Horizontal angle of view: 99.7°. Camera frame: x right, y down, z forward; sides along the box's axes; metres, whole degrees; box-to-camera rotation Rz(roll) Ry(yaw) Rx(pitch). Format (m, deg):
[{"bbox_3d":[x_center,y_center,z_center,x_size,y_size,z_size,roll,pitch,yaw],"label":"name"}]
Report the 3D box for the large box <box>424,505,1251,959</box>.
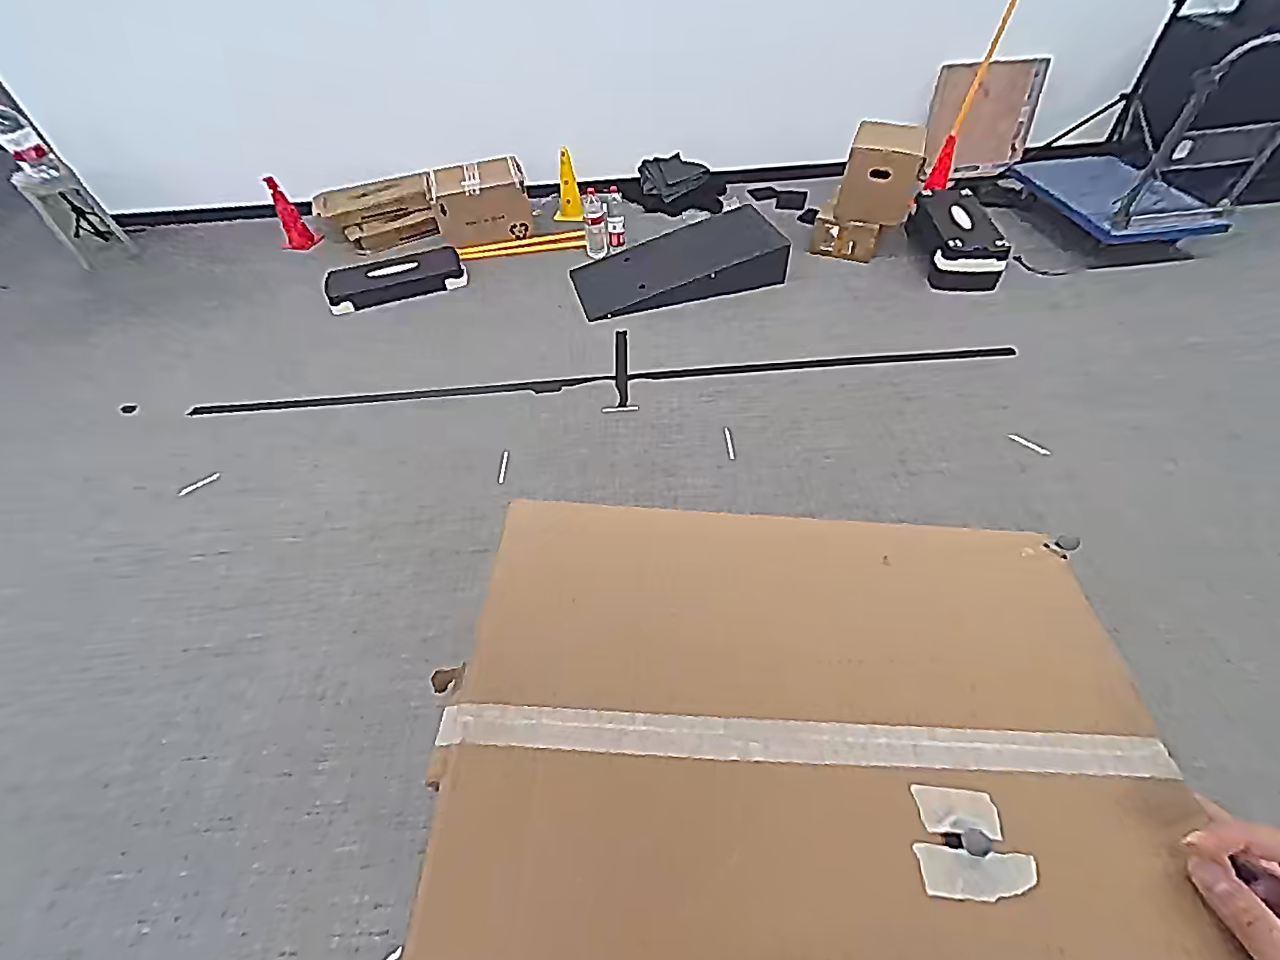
[{"bbox_3d":[0.089,0.242,0.432,0.408,0.320,0.320,4,51,-2],"label":"large box"}]
